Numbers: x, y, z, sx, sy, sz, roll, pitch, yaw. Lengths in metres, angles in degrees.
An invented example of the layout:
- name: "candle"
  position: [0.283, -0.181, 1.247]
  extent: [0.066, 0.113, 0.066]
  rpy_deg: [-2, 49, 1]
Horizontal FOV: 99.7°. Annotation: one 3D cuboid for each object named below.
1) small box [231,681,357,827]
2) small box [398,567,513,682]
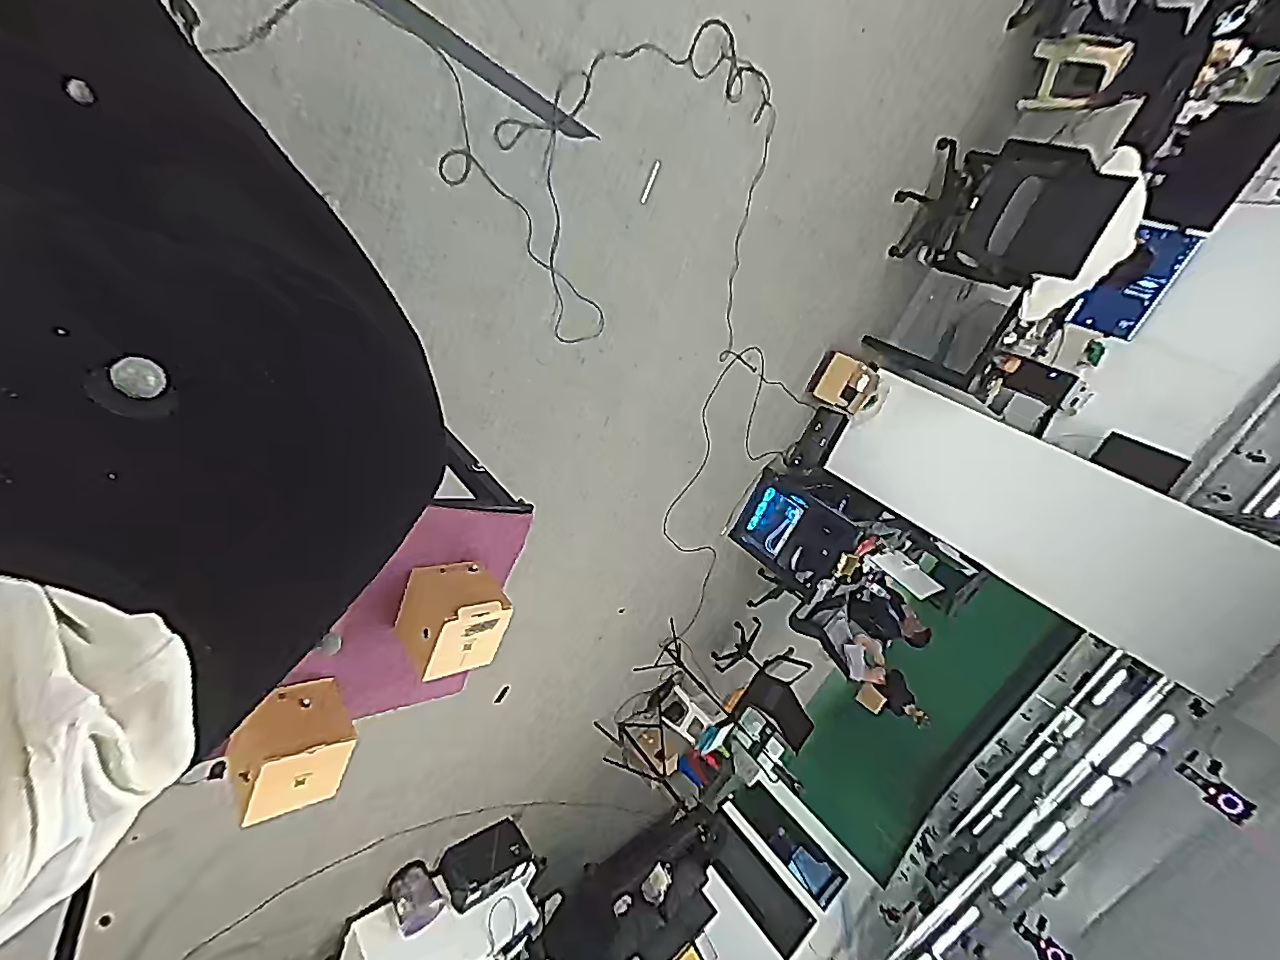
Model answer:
- name: "small box"
  position: [-0.705, 0.543, 1.094]
  extent: [0.168, 0.176, 0.179]
  rpy_deg: [6, 116, -49]
- name: "small box"
  position: [-0.416, 0.308, 1.202]
  extent: [0.168, 0.176, 0.179]
  rpy_deg: [0, 122, -47]
